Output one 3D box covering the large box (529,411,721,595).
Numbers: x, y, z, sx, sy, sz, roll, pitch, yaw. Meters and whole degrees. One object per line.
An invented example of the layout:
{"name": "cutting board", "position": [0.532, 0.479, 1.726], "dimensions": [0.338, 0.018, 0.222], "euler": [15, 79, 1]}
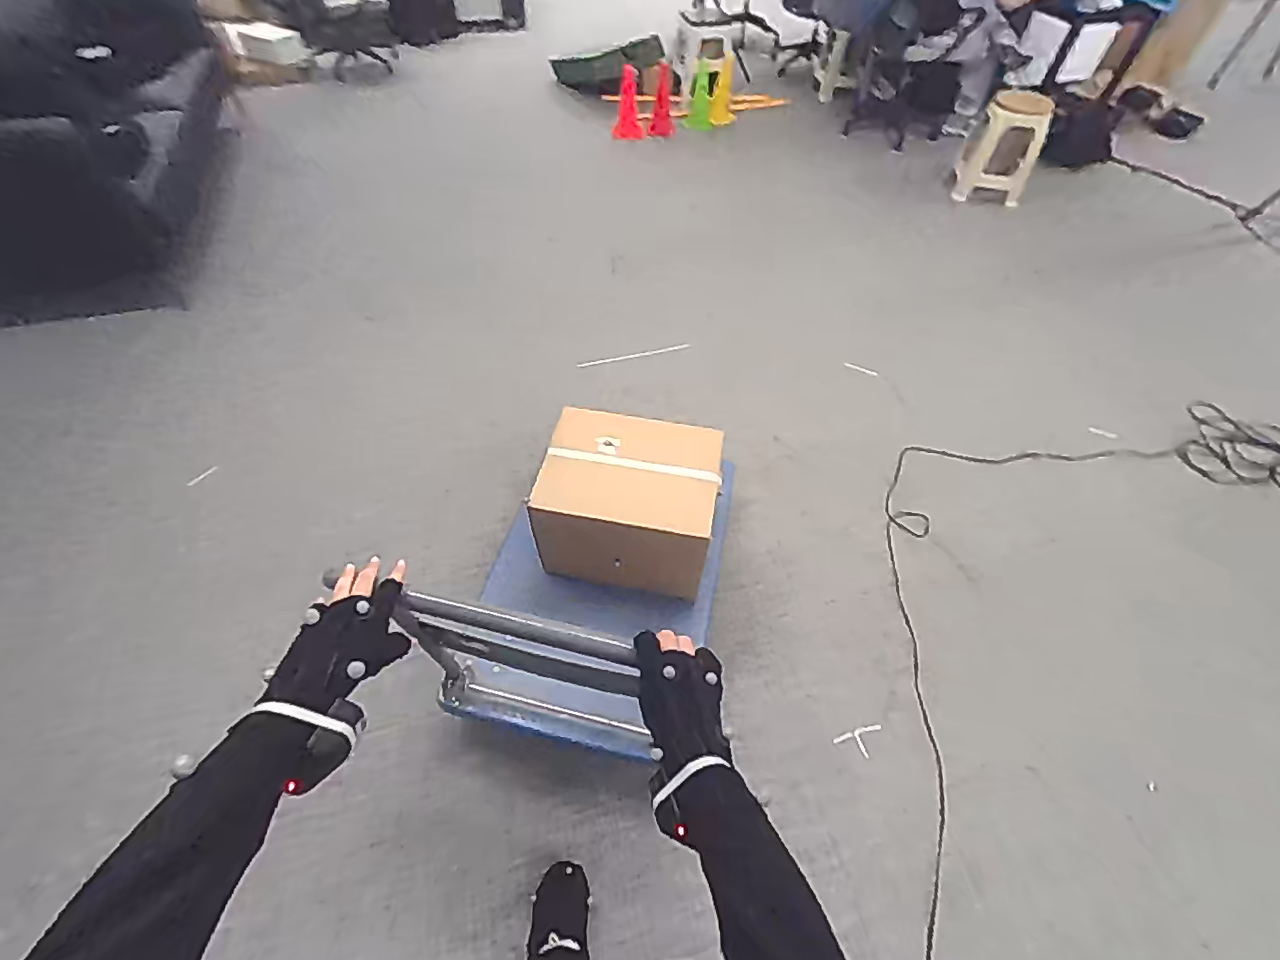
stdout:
{"name": "large box", "position": [-0.020, 0.063, 1.364], "dimensions": [0.408, 0.320, 0.320], "euler": [9, 52, 7]}
